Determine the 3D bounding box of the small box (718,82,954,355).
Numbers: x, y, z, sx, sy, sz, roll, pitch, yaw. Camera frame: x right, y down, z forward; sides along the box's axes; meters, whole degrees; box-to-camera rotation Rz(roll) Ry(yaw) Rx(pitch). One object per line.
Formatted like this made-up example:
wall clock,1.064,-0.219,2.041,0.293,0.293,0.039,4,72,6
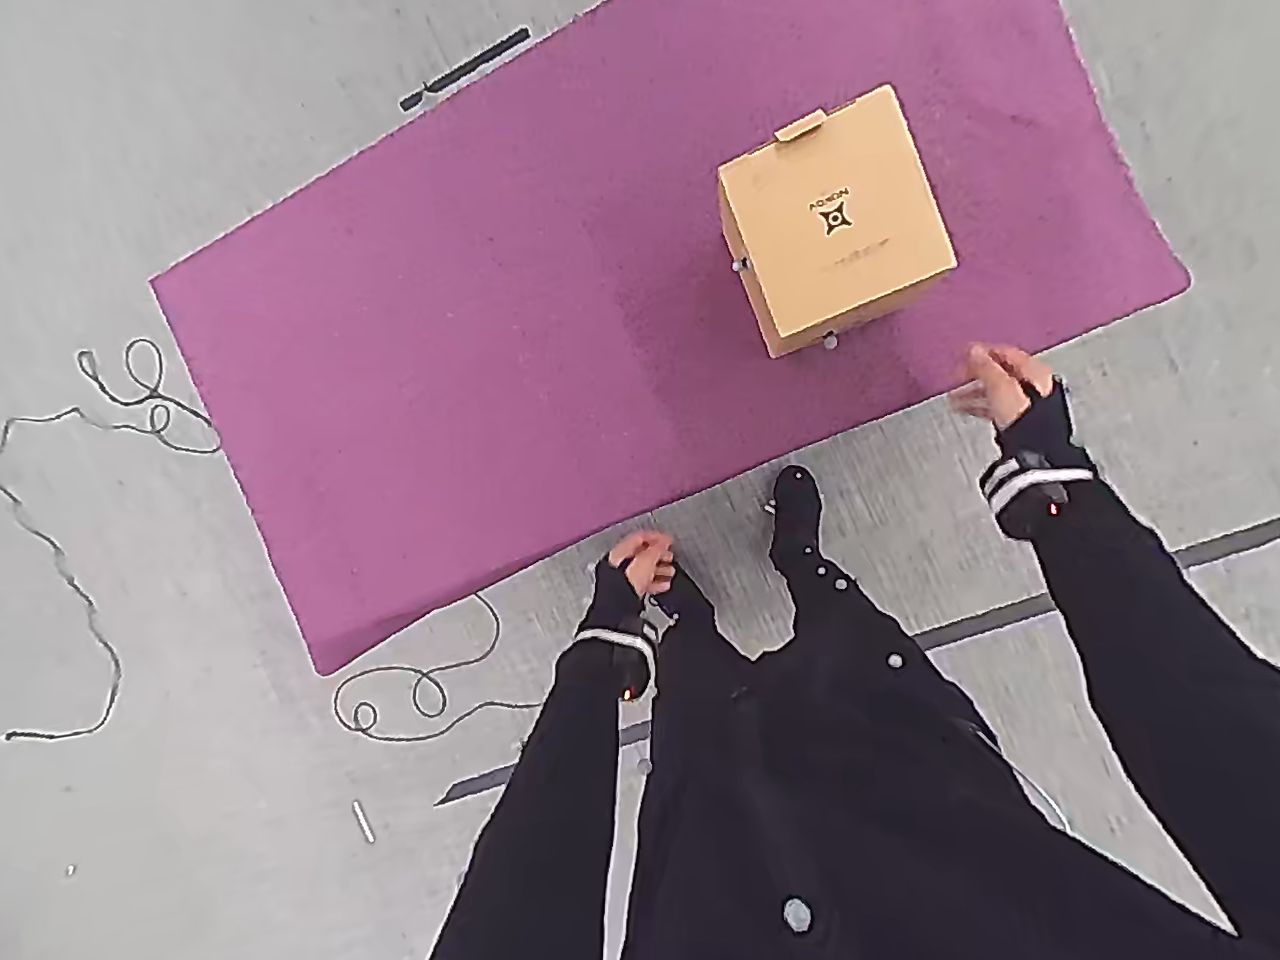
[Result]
small box,0.188,-0.249,0.568,0.168,0.176,0.179,-20,91,12
